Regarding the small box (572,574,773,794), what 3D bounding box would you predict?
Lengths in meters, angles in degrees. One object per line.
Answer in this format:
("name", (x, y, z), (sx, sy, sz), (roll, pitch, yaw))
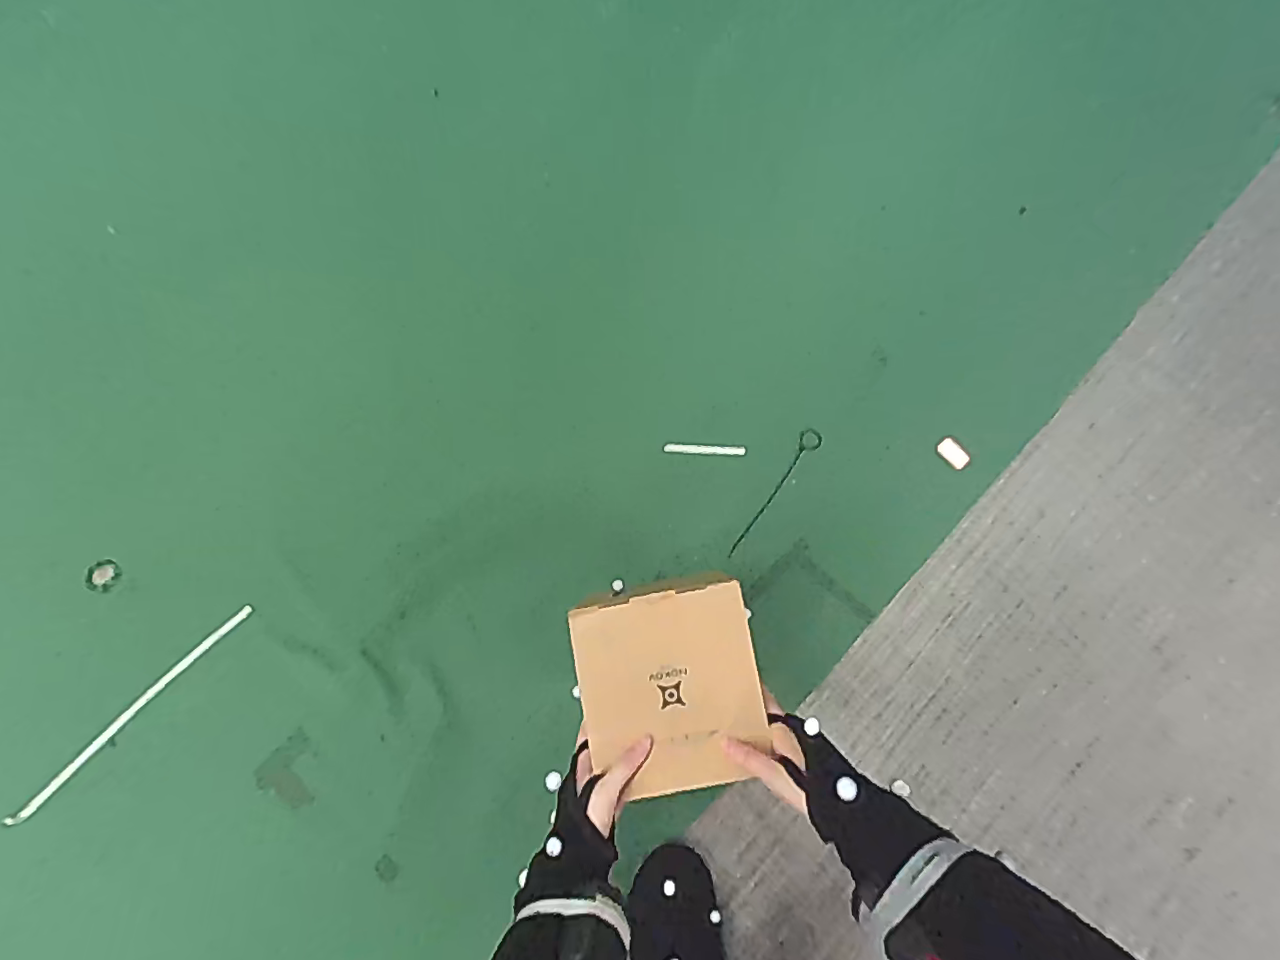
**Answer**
("small box", (0.029, 0.200, 0.584), (0.168, 0.176, 0.179), (-11, 83, 0))
